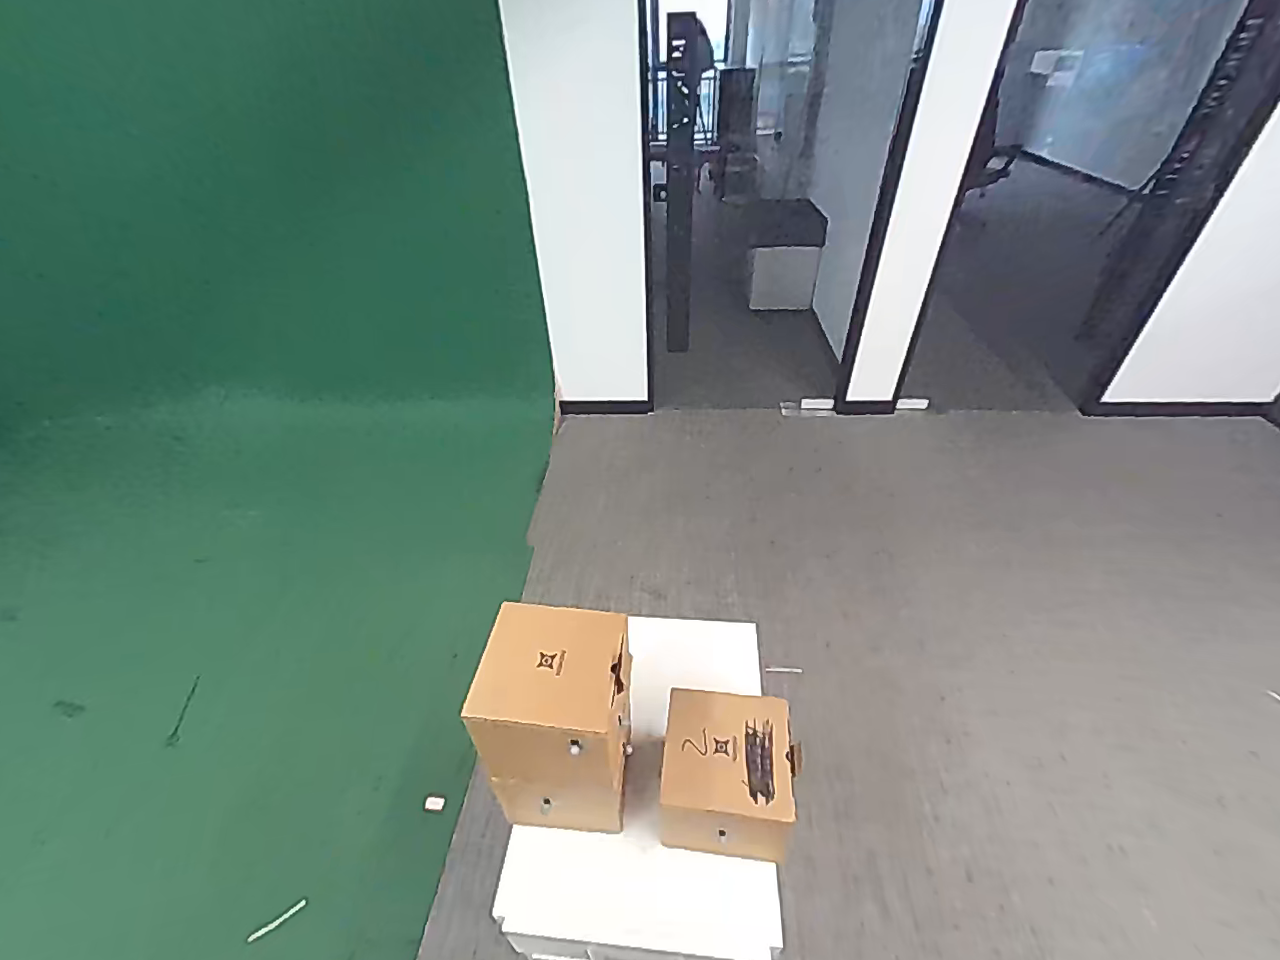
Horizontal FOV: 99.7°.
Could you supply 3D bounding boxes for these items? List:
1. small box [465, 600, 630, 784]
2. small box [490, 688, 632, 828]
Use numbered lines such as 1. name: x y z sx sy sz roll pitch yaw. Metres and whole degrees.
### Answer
1. small box: -0.111 0.286 0.732 0.179 0.176 0.168 5 39 4
2. small box: -0.109 0.413 0.834 0.179 0.176 0.168 2 40 4
